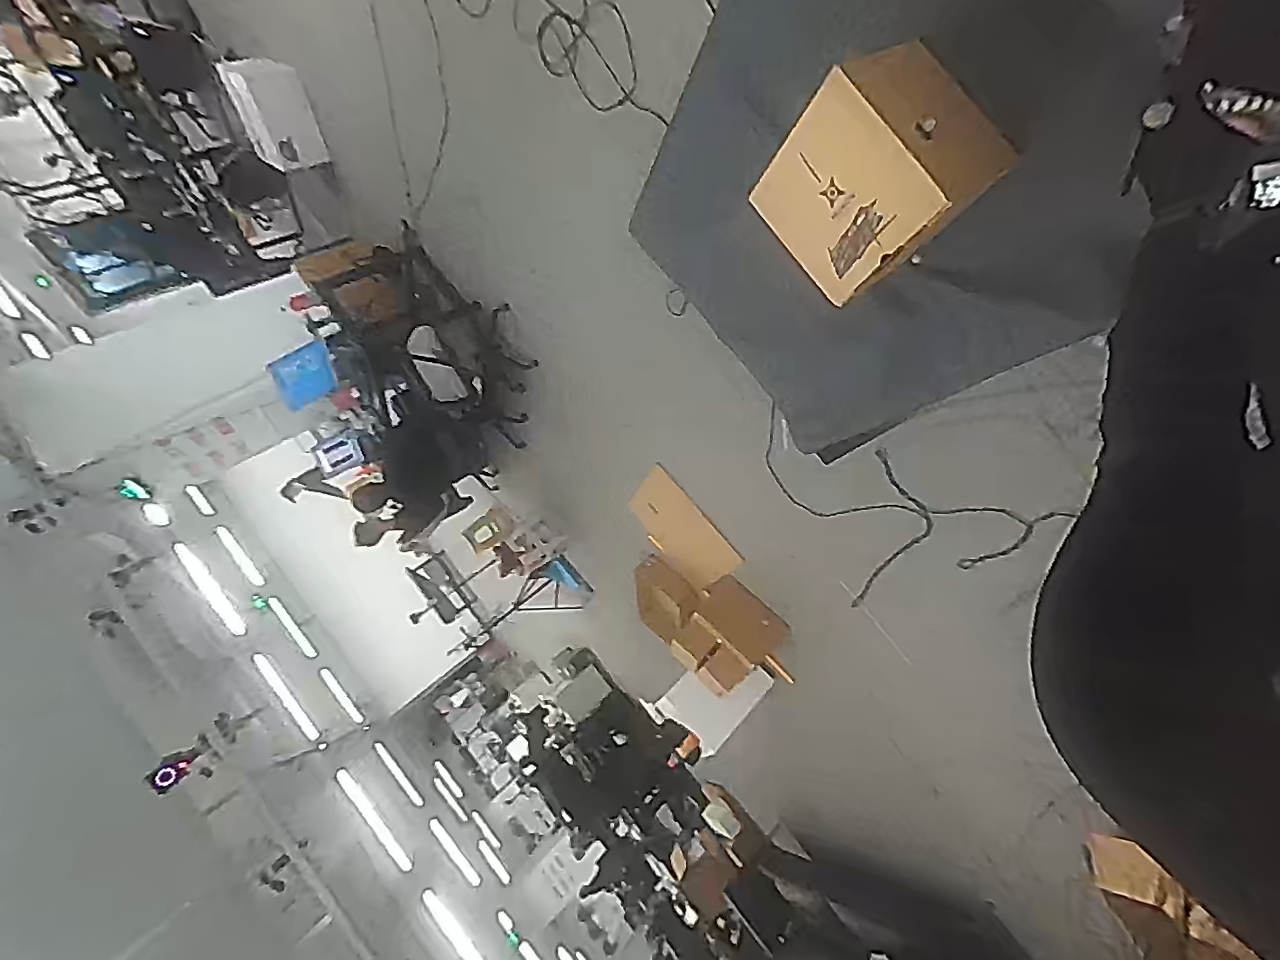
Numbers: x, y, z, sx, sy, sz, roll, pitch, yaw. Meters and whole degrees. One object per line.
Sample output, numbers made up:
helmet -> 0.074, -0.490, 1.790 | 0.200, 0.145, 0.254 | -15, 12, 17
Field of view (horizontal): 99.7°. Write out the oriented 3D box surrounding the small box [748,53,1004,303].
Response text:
small box -> 0.269, -0.347, 0.624 | 0.179, 0.176, 0.168 | 52, 152, 3
